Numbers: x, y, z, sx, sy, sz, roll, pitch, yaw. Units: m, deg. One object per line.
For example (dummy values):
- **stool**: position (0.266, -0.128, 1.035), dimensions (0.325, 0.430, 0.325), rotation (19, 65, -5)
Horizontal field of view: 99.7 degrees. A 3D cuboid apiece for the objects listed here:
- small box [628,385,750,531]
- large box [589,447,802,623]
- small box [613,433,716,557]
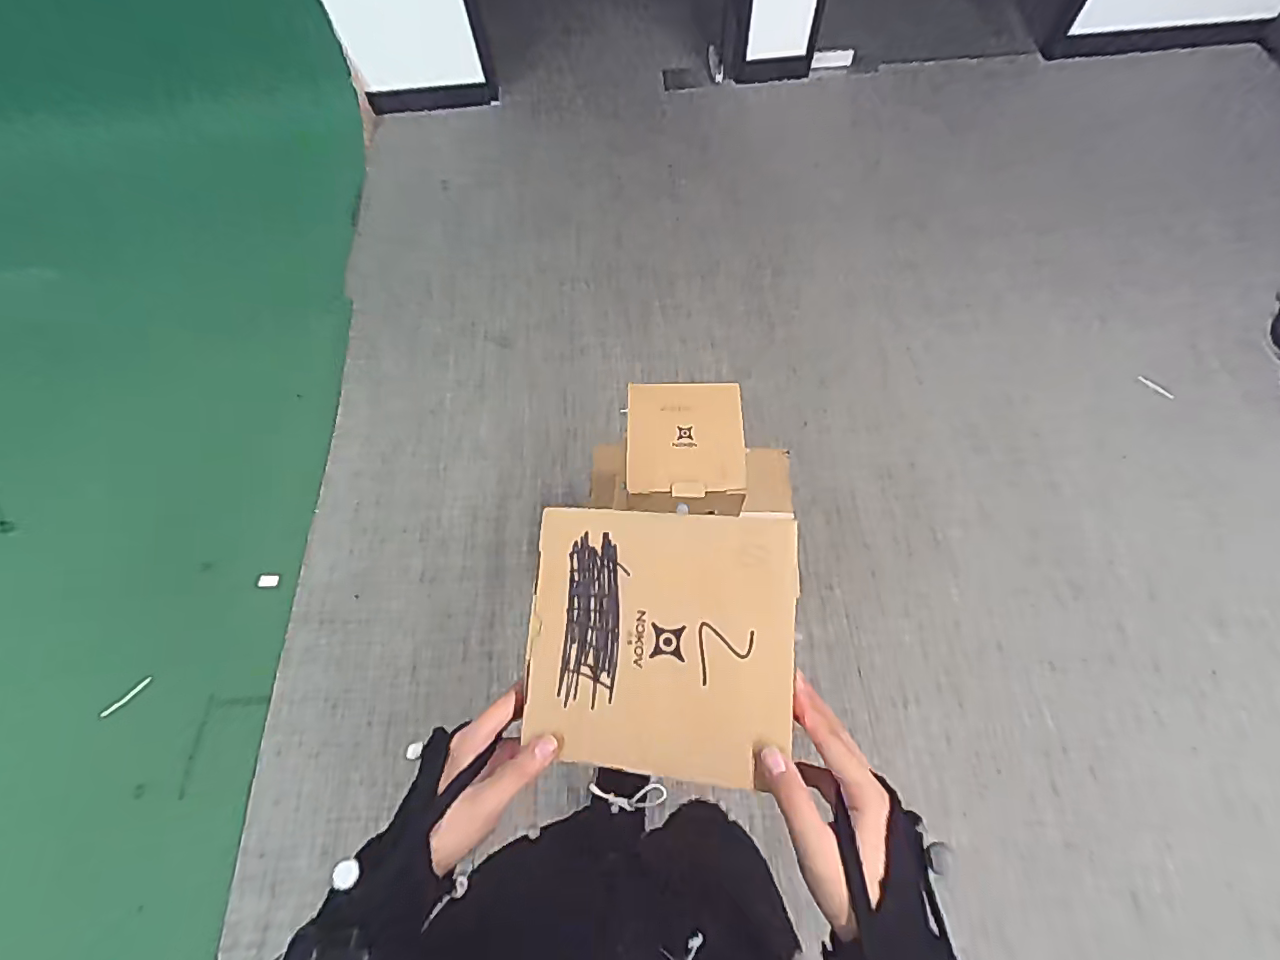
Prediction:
- **small box**: position (0.067, -0.026, 0.825), dimensions (0.168, 0.176, 0.179), rotation (0, 64, 0)
- **large box**: position (0.105, 0.134, 1.195), dimensions (0.408, 0.320, 0.320), rotation (1, 67, 1)
- **small box**: position (0.054, 0.032, 0.977), dimensions (0.179, 0.176, 0.168), rotation (7, 66, 4)
